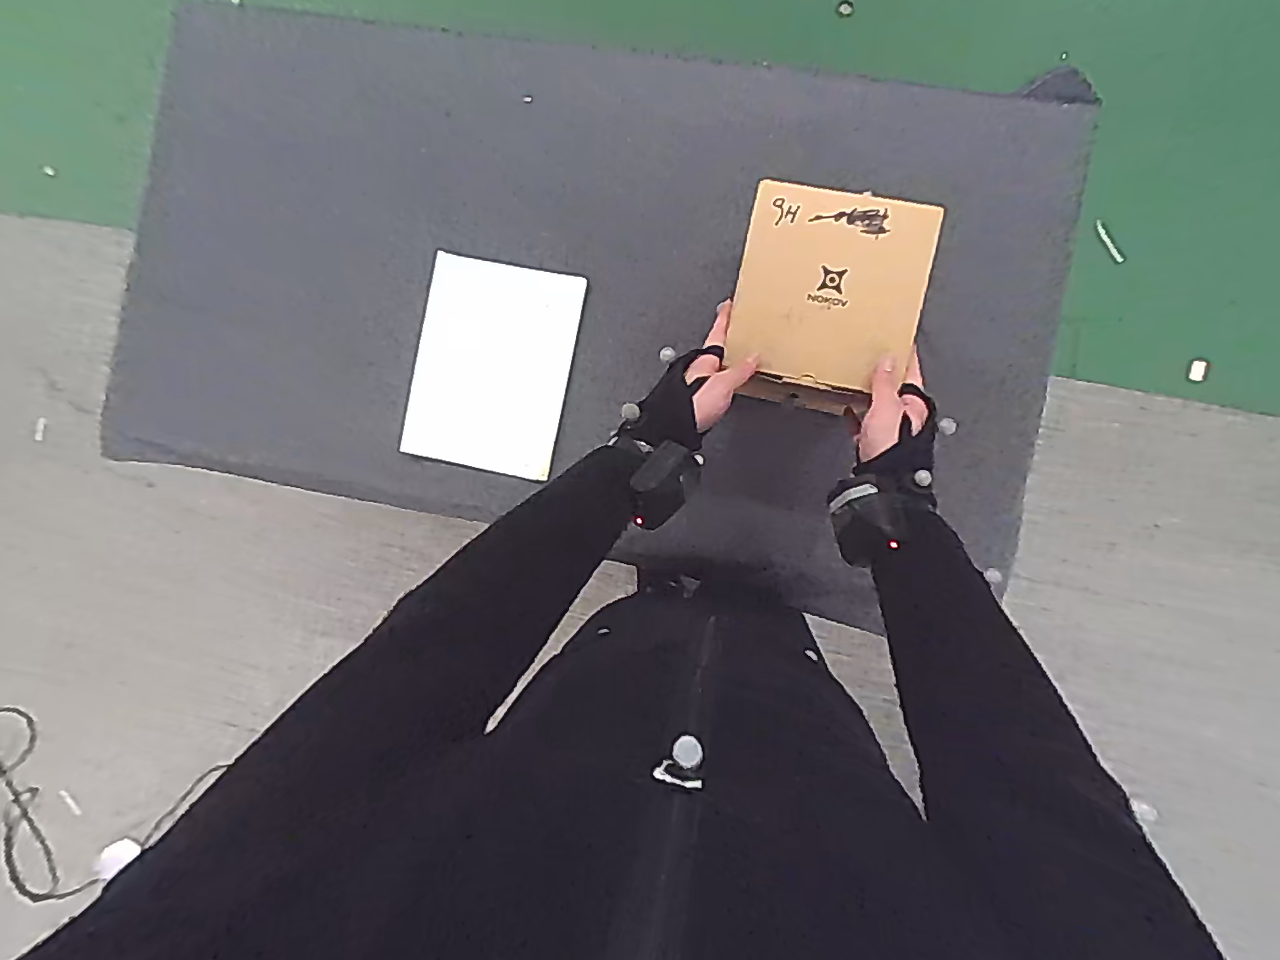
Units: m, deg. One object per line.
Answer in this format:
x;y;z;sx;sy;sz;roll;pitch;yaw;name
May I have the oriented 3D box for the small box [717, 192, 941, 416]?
0.180;-0.168;0.571;0.168;0.176;0.179;12;95;6;small box
